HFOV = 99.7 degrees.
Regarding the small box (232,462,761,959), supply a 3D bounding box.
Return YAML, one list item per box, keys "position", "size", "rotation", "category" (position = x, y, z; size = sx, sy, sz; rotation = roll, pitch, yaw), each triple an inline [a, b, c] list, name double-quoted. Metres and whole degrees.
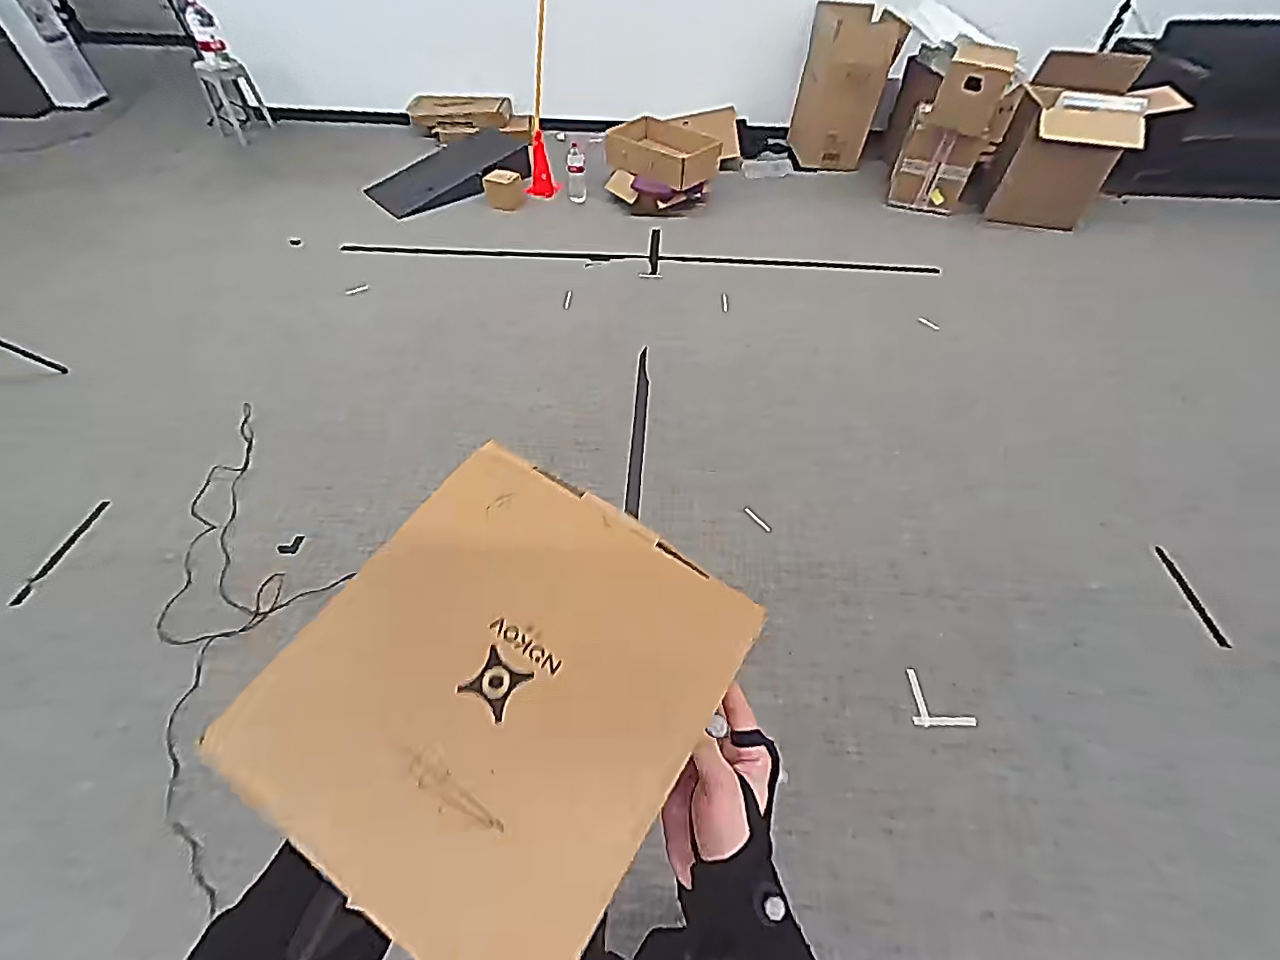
- position: [-0.058, 0.128, 0.308]
  size: [0.168, 0.176, 0.179]
  rotation: [30, 67, 13]
  category: "small box"
